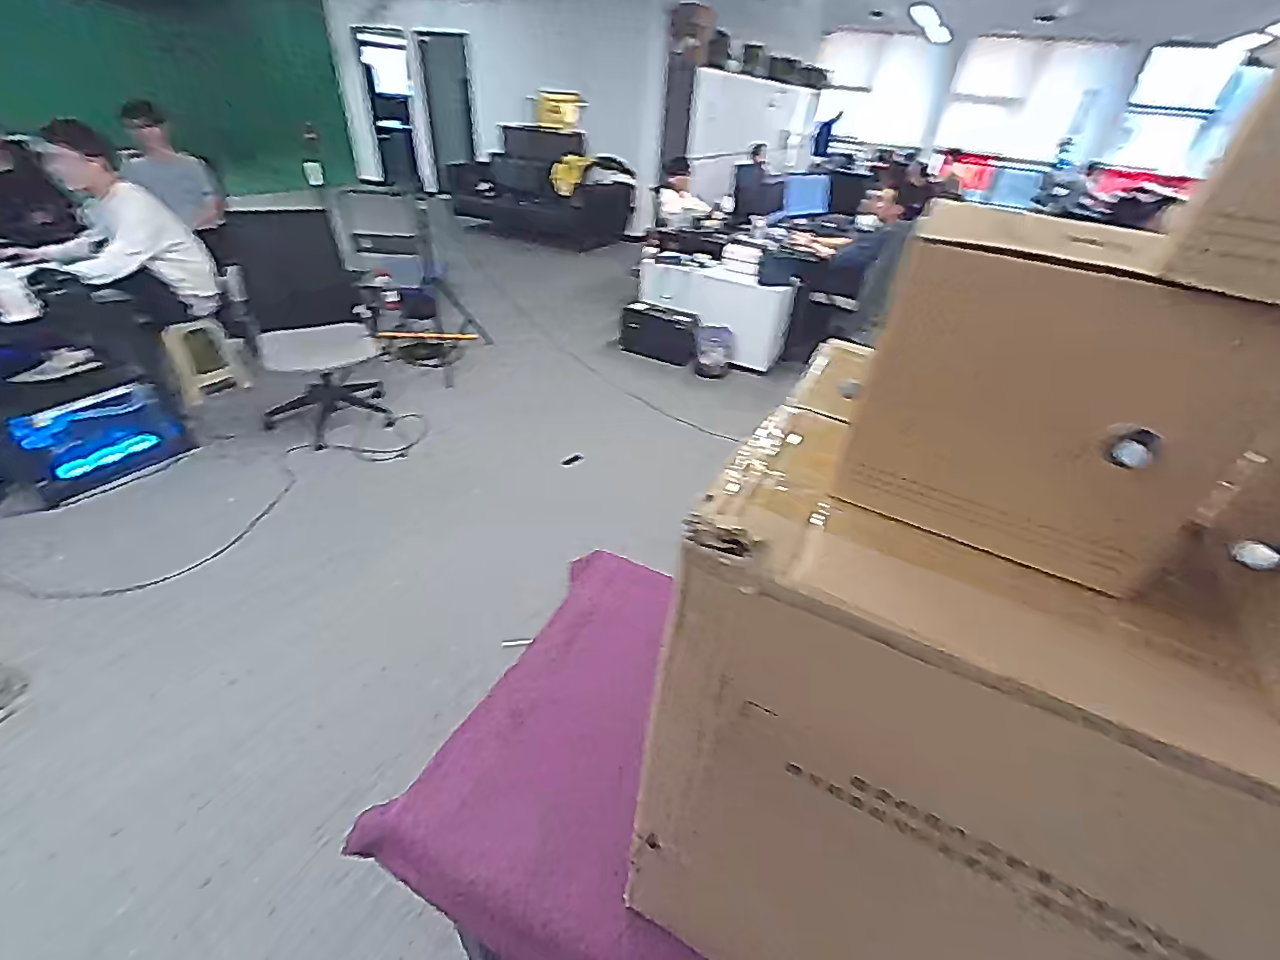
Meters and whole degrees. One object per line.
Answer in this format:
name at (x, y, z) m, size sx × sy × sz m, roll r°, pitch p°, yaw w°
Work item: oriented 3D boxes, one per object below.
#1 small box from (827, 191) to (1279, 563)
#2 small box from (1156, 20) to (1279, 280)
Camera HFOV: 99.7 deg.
small box at (0.243, -0.072, 0.348) m, size 0.179 × 0.176 × 0.168 m, roll 20°, pitch 38°, yaw 20°
small box at (0.341, -0.159, 0.199) m, size 0.168 × 0.176 × 0.179 m, roll 30°, pitch 42°, yaw 30°
